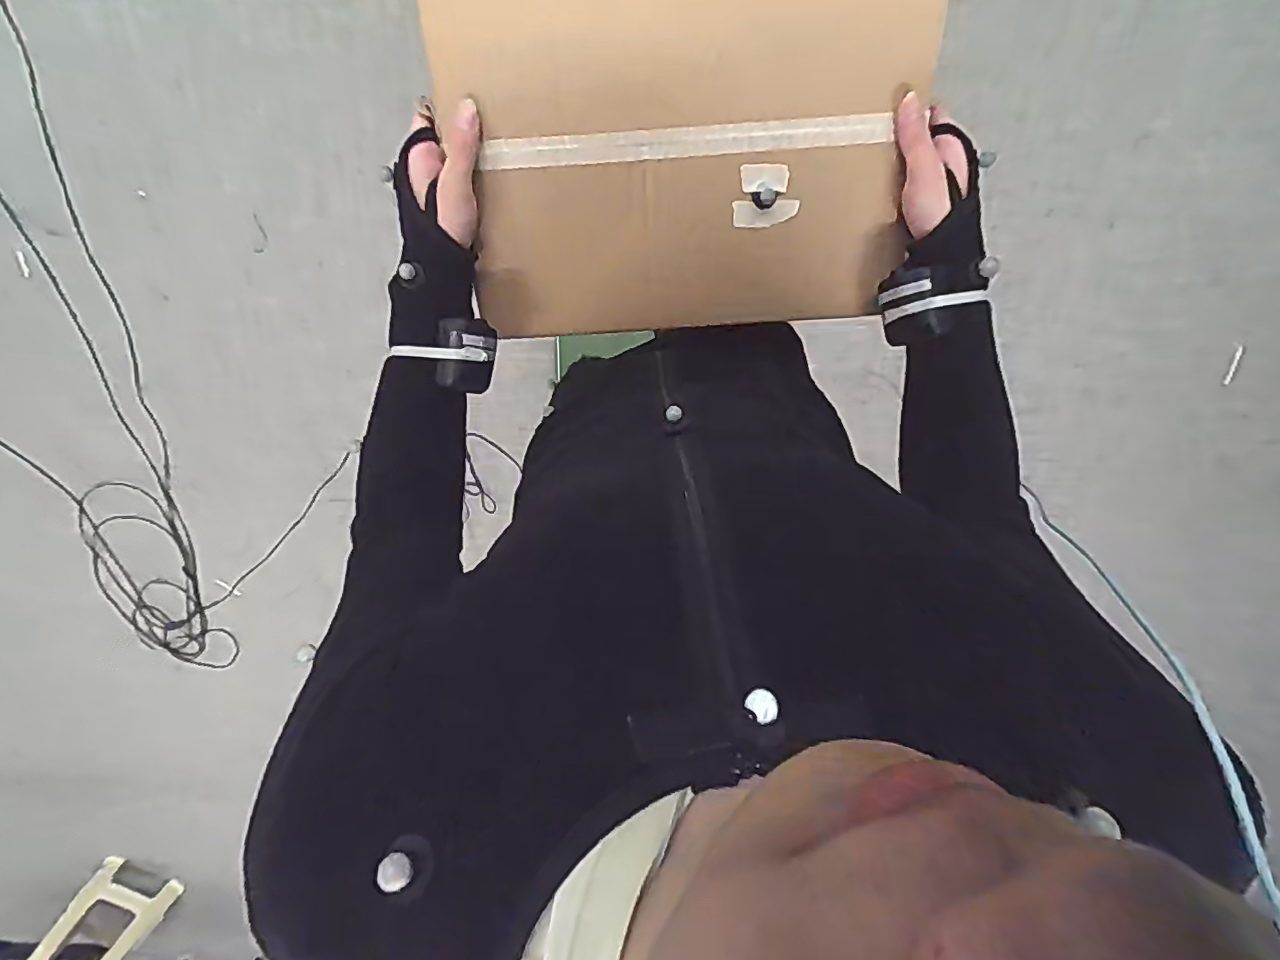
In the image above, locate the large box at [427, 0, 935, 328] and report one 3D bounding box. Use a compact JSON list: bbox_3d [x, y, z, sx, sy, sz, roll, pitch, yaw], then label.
[{"bbox_3d":[0.032,-0.374,0.591,0.408,0.320,0.320,-5,121,-1],"label":"large box"}]
